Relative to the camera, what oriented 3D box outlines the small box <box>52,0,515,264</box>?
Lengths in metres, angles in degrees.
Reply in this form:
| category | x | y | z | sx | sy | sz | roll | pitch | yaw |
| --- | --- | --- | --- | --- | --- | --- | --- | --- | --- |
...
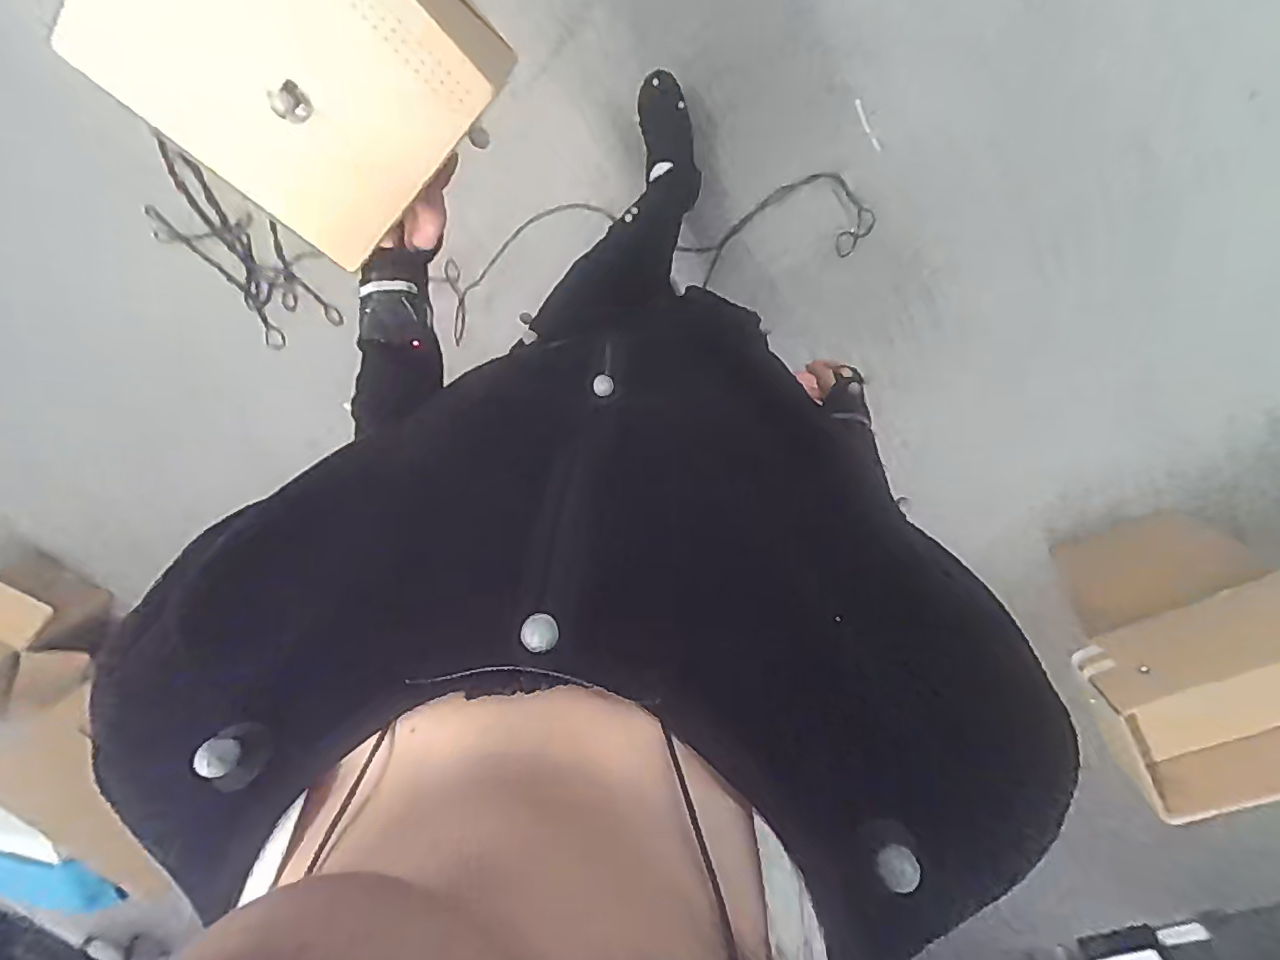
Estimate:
| category | x | y | z | sx | sy | sz | roll | pitch | yaw |
| --- | --- | --- | --- | --- | --- | --- | --- | --- | --- |
| small box | -0.207 | -0.293 | 0.361 | 0.176 | 0.168 | 0.179 | -36 | 128 | 24 |
